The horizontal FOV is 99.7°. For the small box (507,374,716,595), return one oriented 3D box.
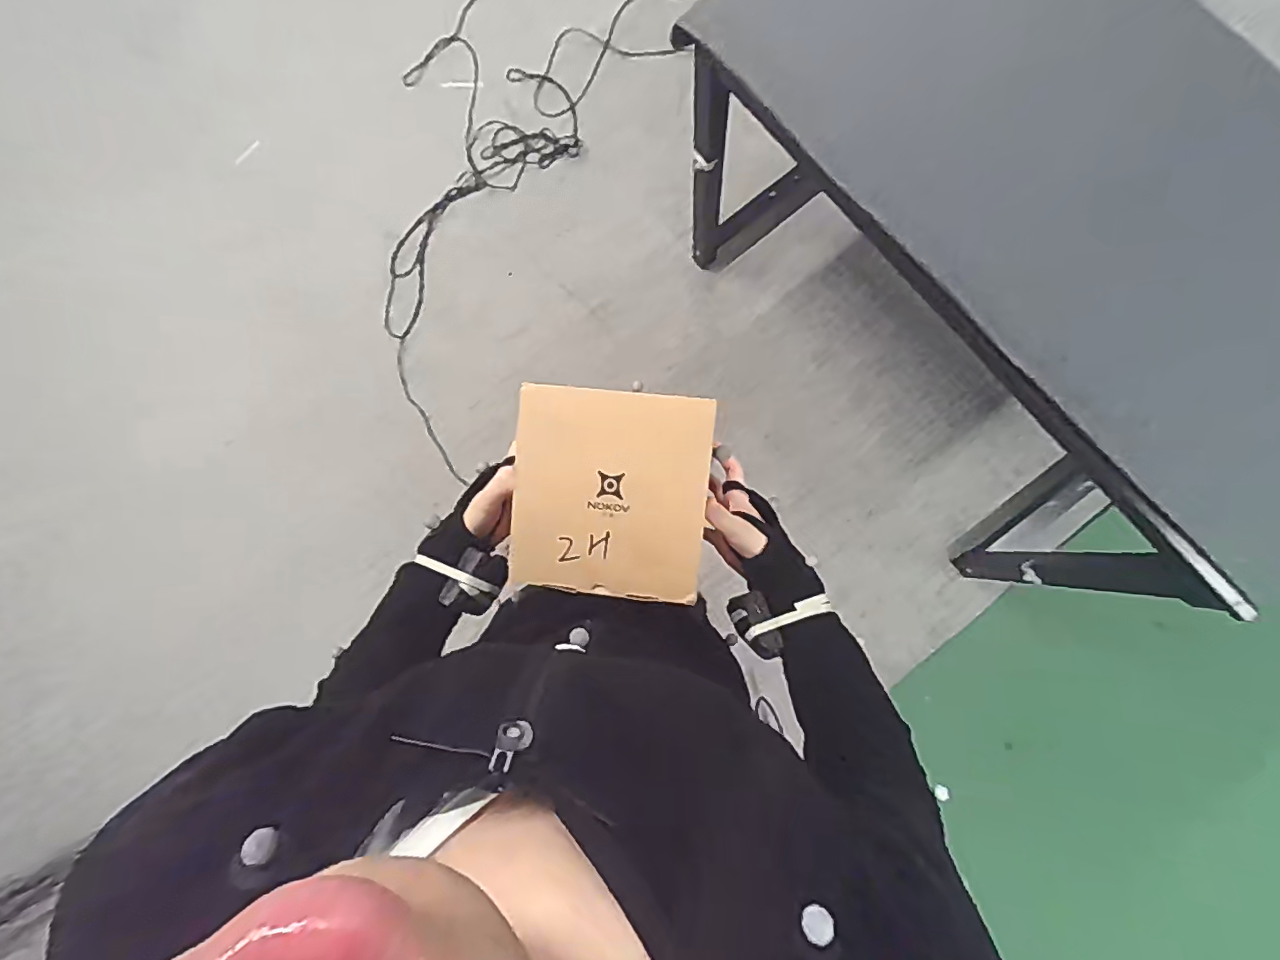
[{"bbox_3d":[-0.020,-0.004,0.538,0.168,0.176,0.179,6,98,5],"label":"small box"}]
